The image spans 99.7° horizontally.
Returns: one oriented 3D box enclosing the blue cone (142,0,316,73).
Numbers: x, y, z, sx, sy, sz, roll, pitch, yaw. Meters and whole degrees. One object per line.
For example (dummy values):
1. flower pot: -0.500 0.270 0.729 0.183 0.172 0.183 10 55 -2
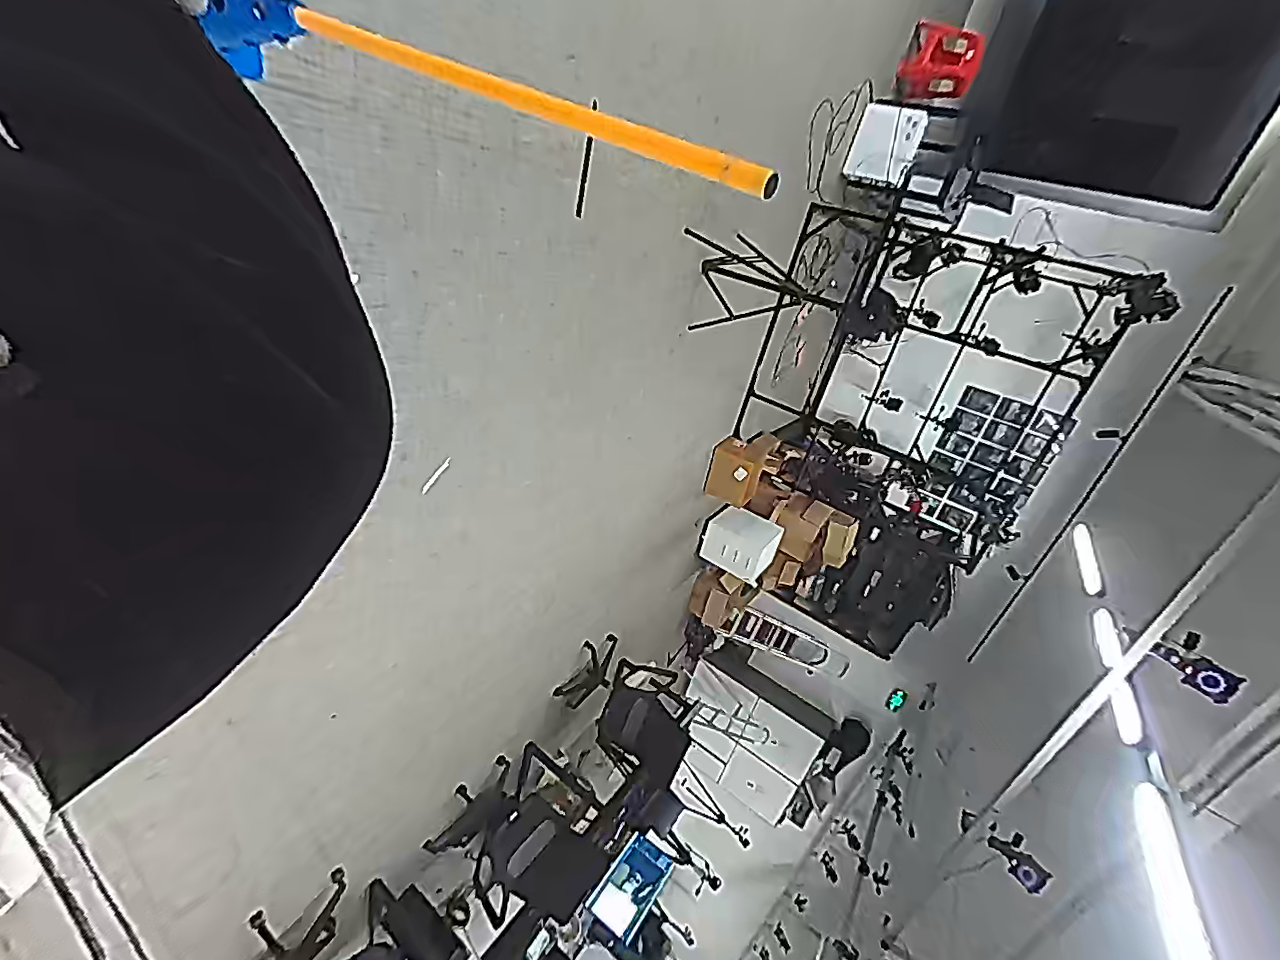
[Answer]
1. blue cone: -0.670 -0.804 0.918 0.193 0.380 0.192 -30 139 -50
